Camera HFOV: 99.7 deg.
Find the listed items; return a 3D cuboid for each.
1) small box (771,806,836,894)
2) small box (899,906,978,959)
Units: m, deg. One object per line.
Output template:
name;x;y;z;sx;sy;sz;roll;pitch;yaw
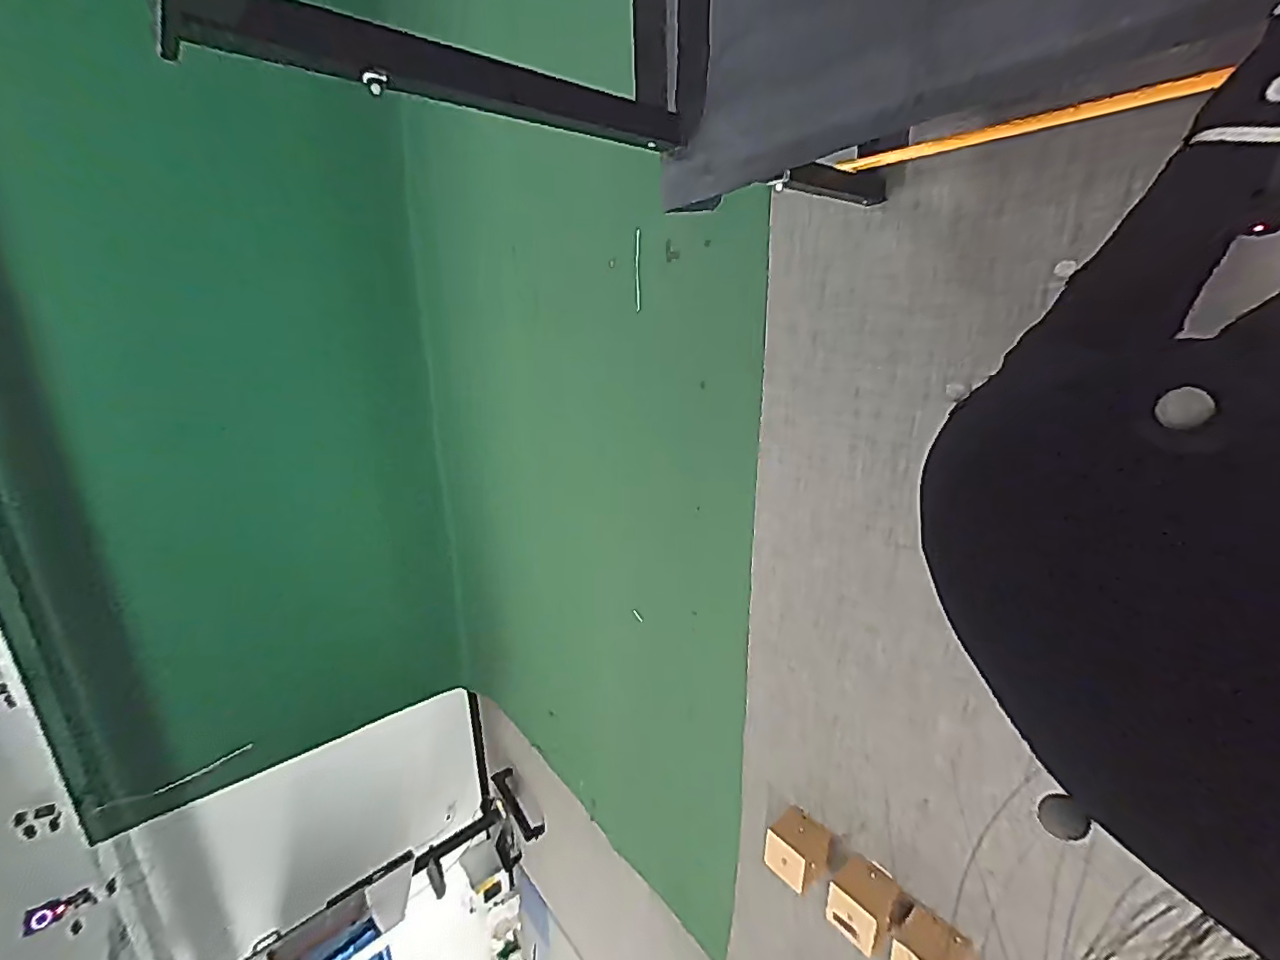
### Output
small box;0.616;1.377;2.026;0.168;0.176;0.179;20;116;49
small box;0.918;1.482;1.667;0.168;0.176;0.179;18;116;48
